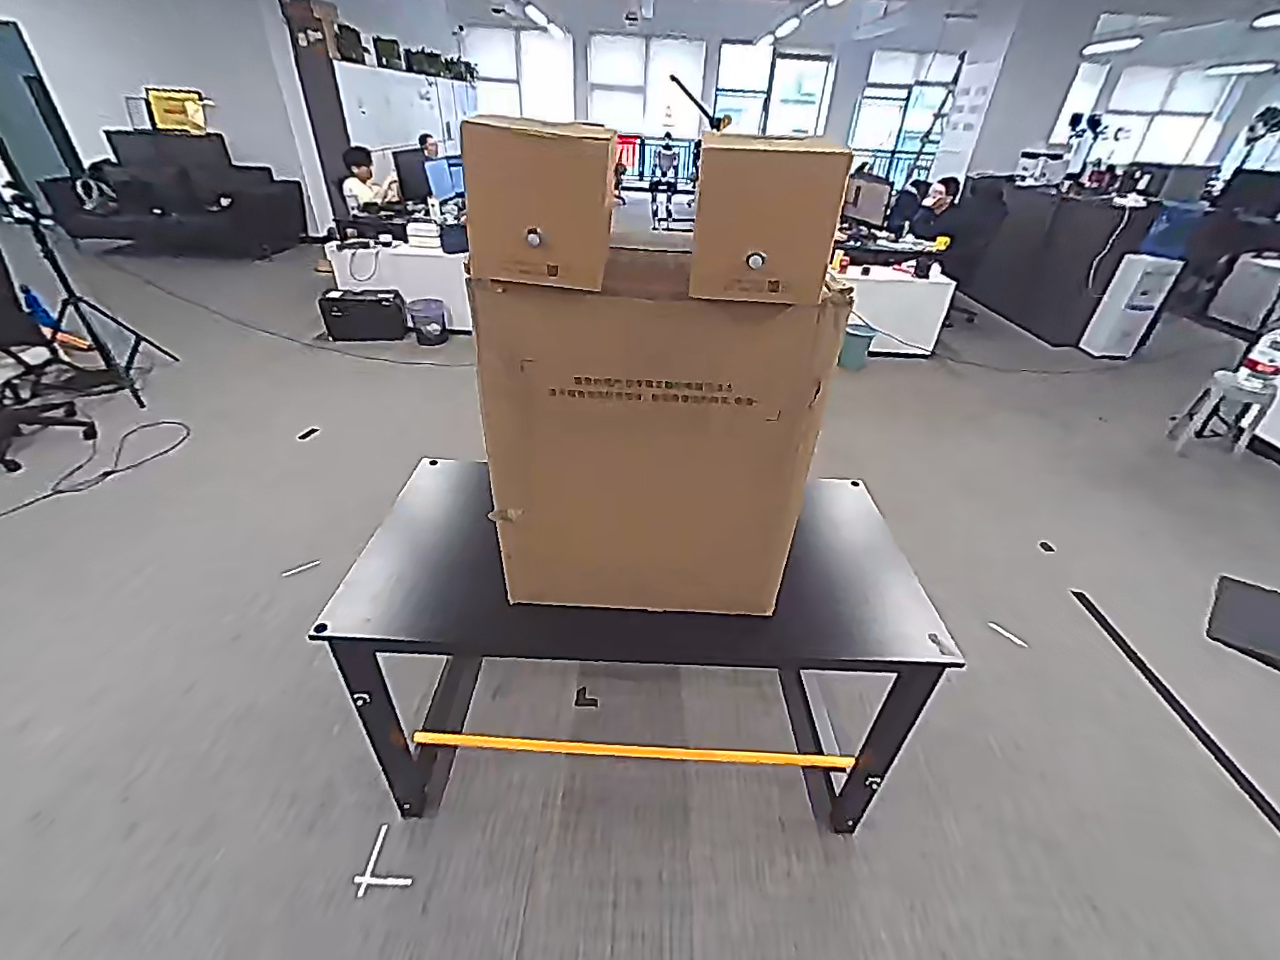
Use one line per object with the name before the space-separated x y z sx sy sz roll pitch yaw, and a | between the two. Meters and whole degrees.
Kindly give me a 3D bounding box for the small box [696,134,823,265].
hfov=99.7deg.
small box | 0.179 -0.453 0.869 0.168 0.176 0.179 2 33 3
